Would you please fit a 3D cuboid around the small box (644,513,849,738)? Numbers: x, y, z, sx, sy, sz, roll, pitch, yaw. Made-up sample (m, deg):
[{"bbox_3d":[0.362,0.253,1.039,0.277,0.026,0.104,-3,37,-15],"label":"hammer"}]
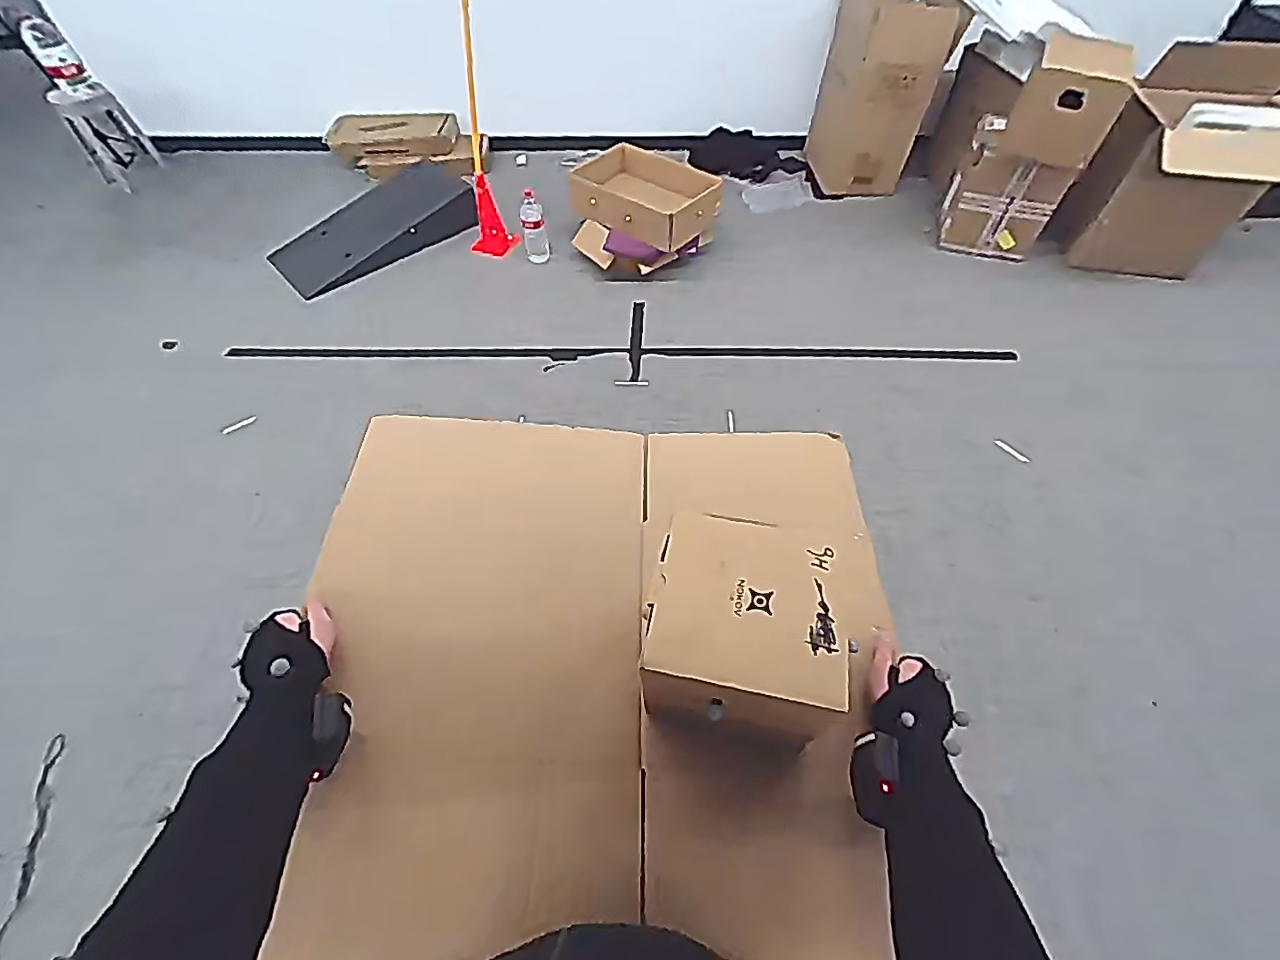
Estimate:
[{"bbox_3d":[0.110,0.157,0.569,0.179,0.176,0.168,8,56,10],"label":"small box"}]
